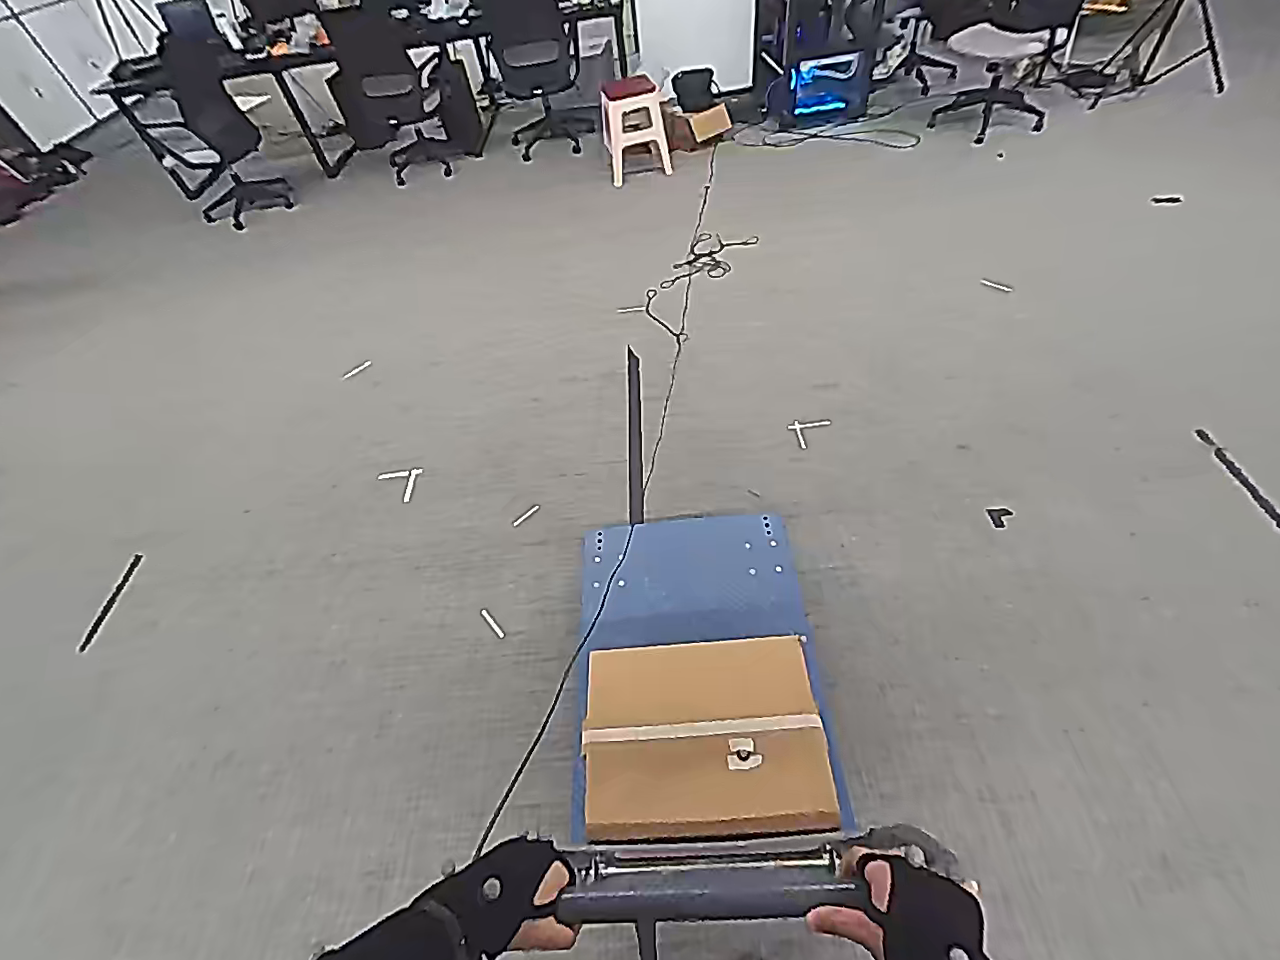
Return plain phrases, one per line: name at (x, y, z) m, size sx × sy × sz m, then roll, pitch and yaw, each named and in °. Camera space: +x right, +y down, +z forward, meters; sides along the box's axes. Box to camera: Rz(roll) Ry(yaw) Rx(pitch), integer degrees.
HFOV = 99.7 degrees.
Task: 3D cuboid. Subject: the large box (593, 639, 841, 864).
large box at (0.128, 0.540, 1.062) m, size 0.408 × 0.320 × 0.320 m, roll -6°, pitch 51°, yaw 4°
